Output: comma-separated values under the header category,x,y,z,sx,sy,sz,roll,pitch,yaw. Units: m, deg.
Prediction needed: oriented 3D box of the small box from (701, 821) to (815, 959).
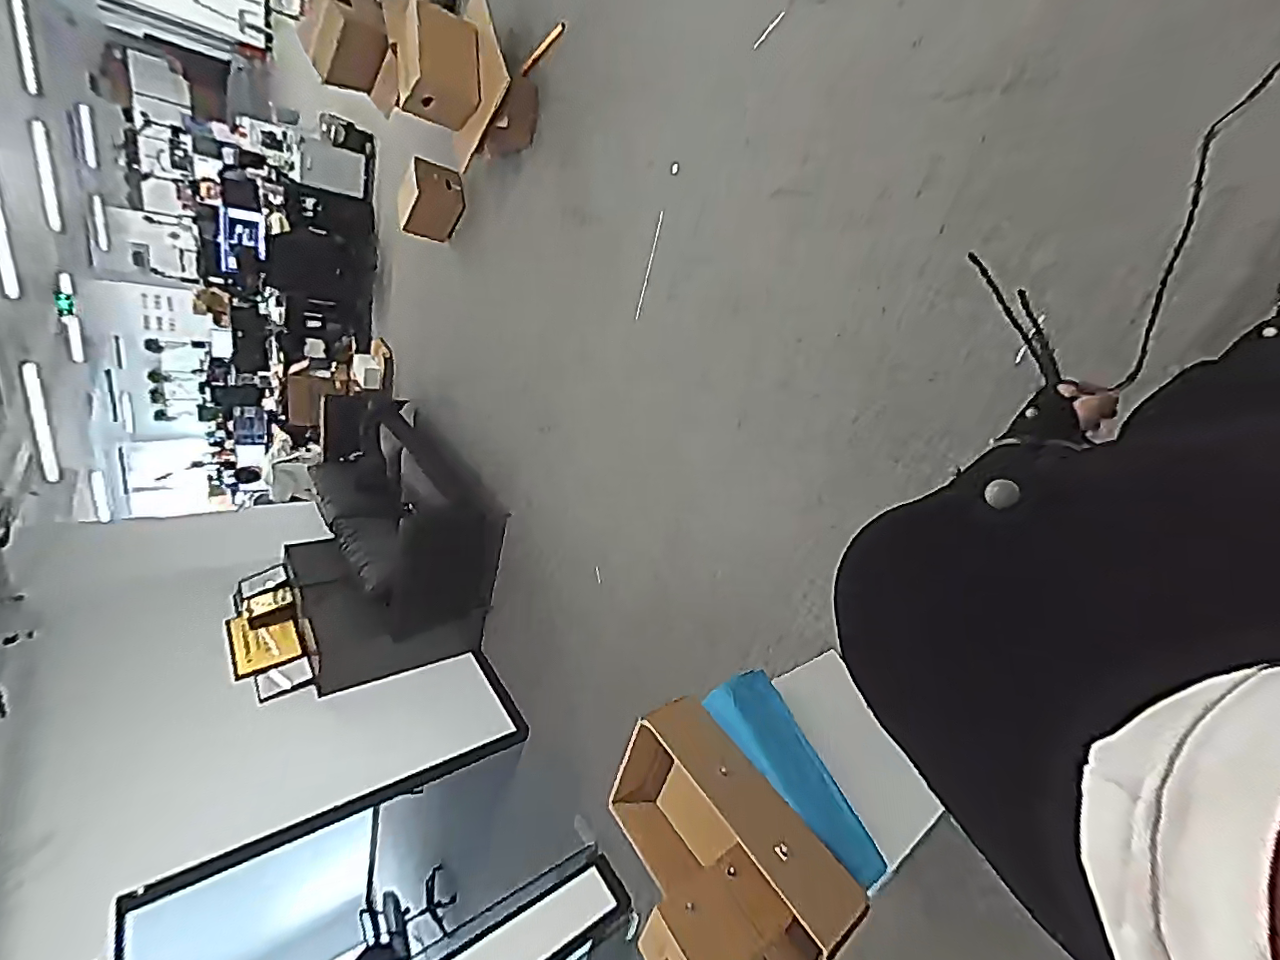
category,x,y,z,sx,sy,sz,roll,pitch,yaw
small box,0.279,0.958,1.275,0.179,0.176,0.168,41,127,42
